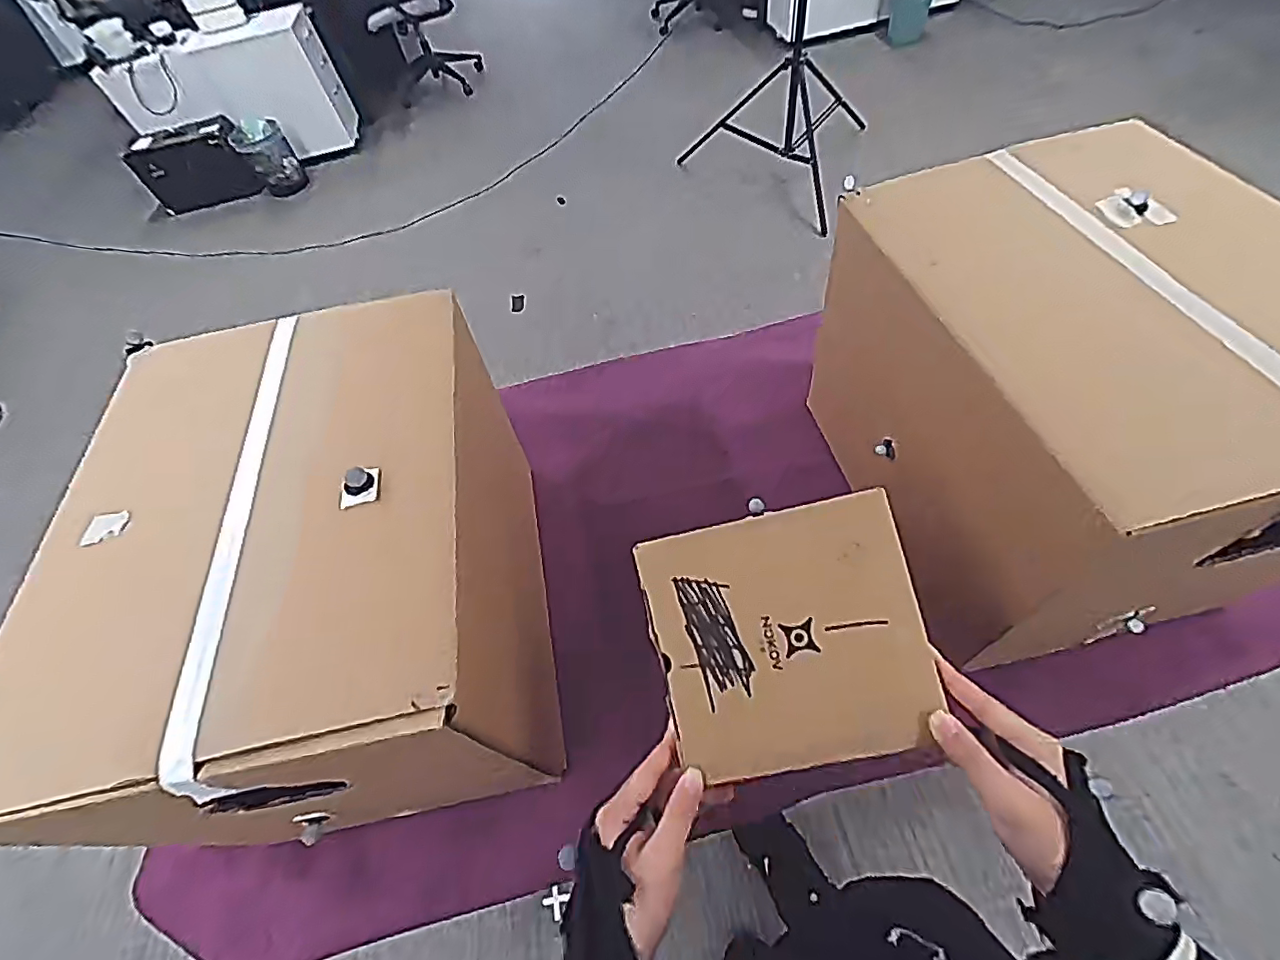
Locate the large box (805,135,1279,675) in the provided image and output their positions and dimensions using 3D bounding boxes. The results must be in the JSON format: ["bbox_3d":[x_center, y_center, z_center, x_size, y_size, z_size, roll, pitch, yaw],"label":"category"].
[{"bbox_3d":[0.402,-0.074,0.552,0.320,0.320,0.408,-14,54,-1],"label":"large box"}]
